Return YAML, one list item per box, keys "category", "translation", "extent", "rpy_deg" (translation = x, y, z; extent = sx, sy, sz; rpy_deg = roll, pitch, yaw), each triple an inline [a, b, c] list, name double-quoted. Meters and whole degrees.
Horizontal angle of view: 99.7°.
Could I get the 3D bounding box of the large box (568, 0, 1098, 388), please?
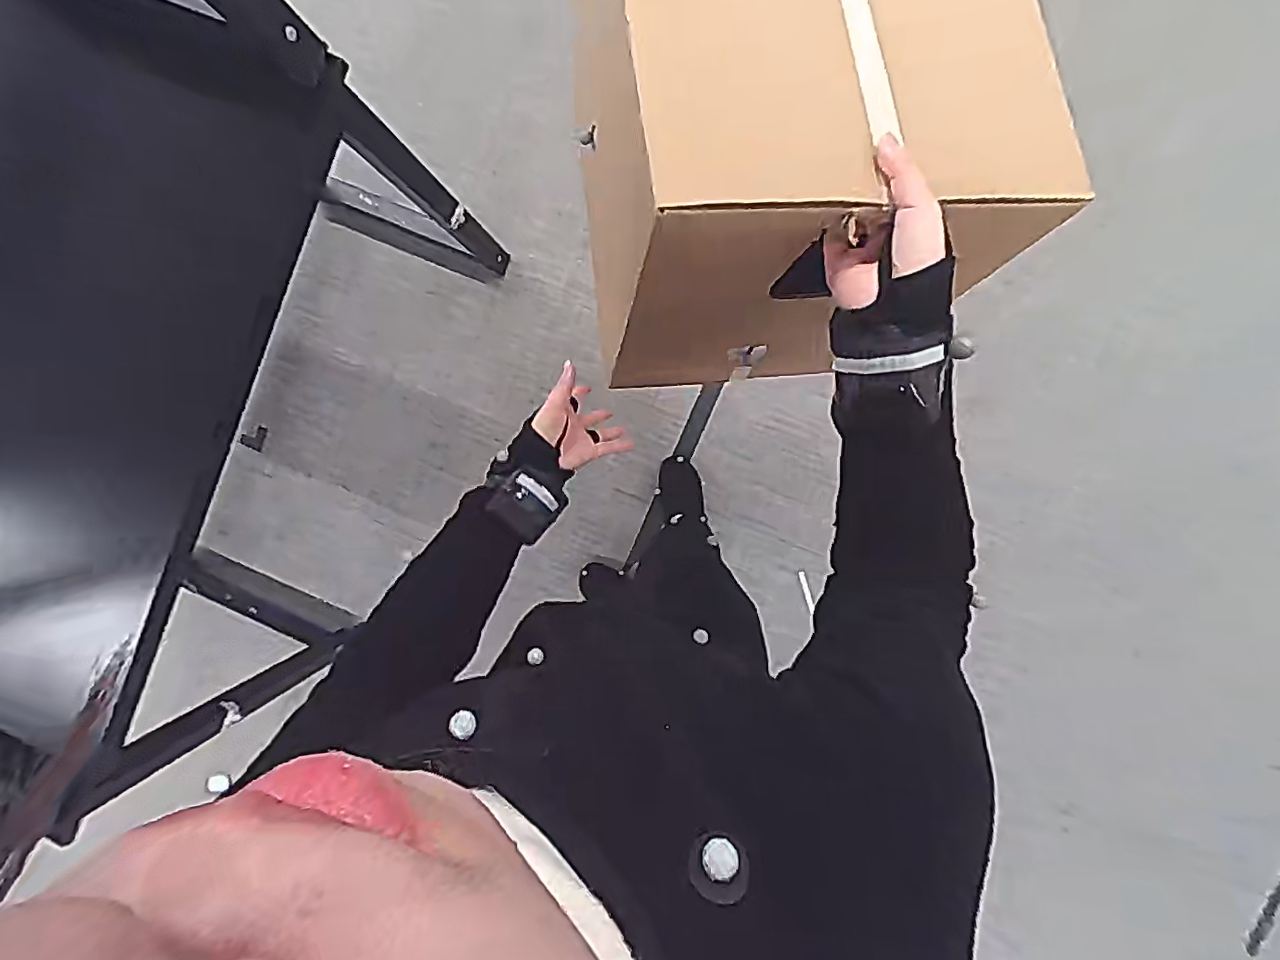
- category: "large box"
  translation: [0.107, -0.337, 0.511]
  extent: [0.320, 0.320, 0.408]
  rpy_deg: [-6, 80, -10]
